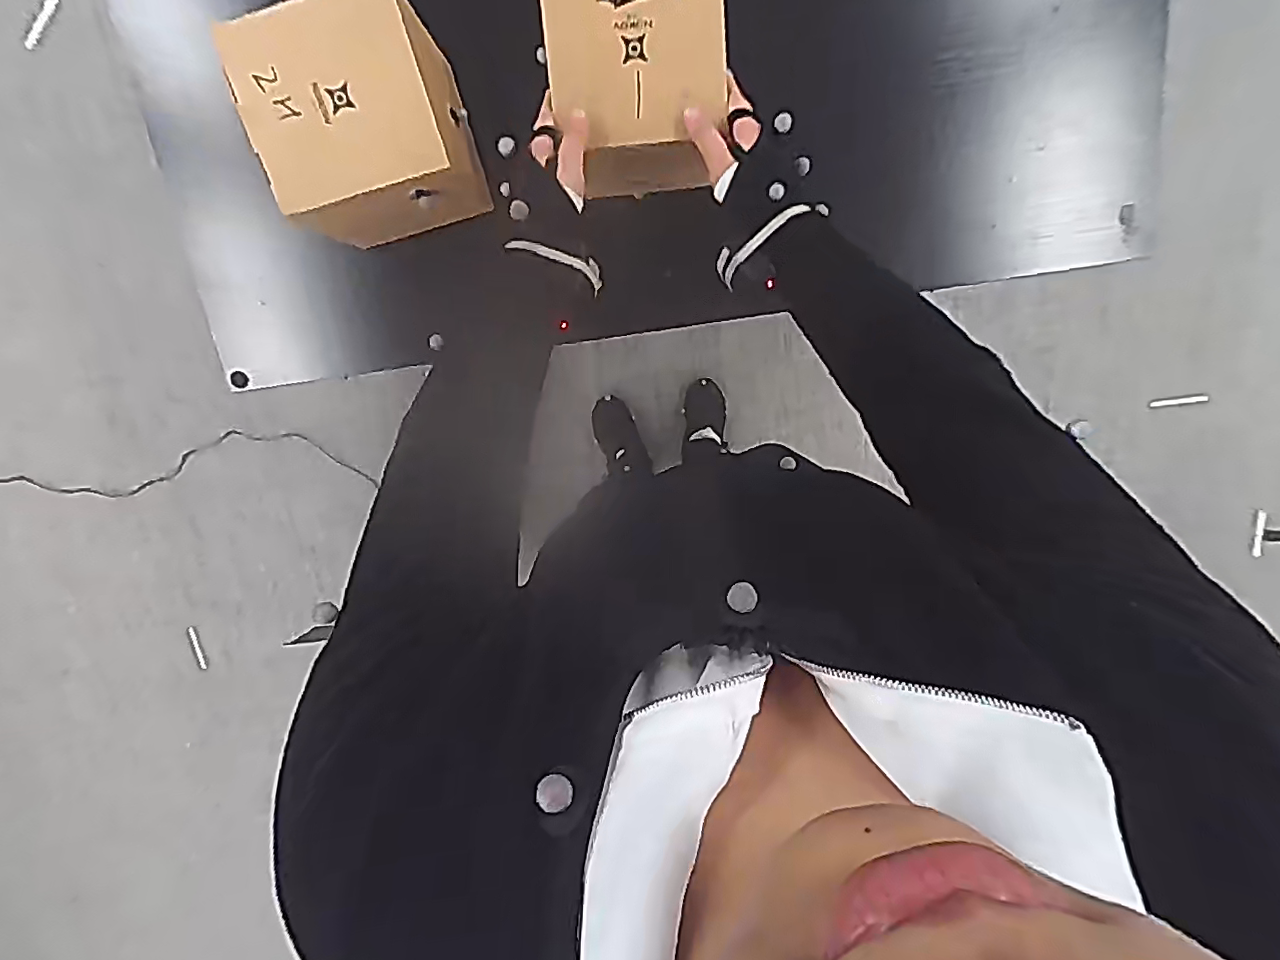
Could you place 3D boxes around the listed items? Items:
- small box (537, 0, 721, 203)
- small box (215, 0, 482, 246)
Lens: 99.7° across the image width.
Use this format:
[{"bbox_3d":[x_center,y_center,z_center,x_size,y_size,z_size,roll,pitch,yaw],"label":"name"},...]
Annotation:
[{"bbox_3d":[-0.009,-0.416,0.573,0.168,0.176,0.179,-4,104,2],"label":"small box"},{"bbox_3d":[-0.287,-0.372,0.586,0.179,0.176,0.168,-15,103,4],"label":"small box"}]
